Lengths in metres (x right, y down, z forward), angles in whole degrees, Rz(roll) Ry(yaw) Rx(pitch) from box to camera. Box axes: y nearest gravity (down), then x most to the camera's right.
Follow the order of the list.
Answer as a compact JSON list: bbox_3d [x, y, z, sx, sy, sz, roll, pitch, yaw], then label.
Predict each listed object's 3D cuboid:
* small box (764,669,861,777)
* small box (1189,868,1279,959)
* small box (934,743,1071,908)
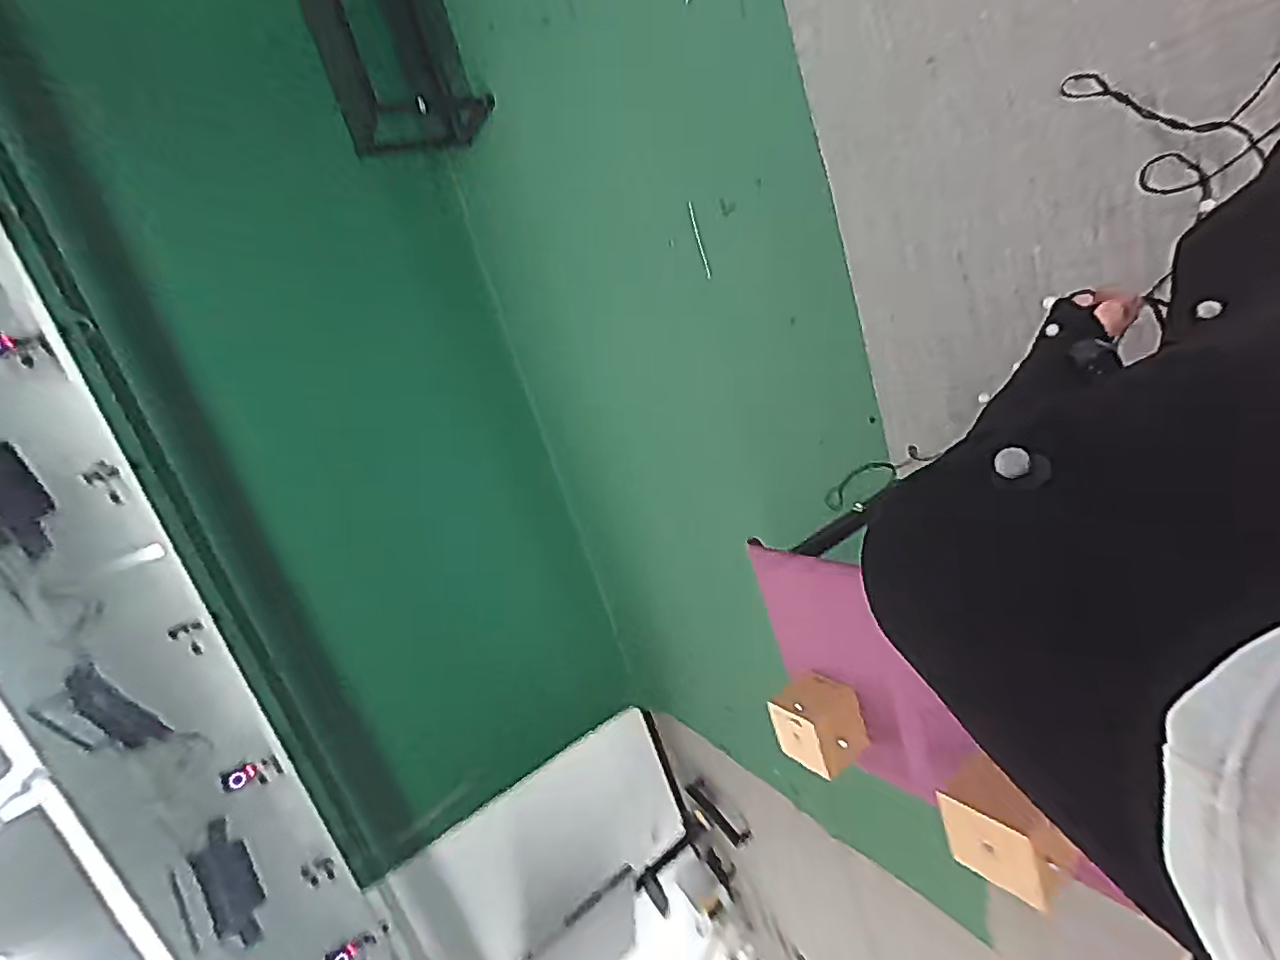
[{"bbox_3d":[0.476,0.654,1.478,0.168,0.176,0.179,0,112,59],"label":"small box"},{"bbox_3d":[0.919,0.714,0.767,0.168,0.176,0.179,7,116,59],"label":"small box"},{"bbox_3d":[0.723,0.673,1.076,0.168,0.176,0.179,2,113,58],"label":"small box"}]
